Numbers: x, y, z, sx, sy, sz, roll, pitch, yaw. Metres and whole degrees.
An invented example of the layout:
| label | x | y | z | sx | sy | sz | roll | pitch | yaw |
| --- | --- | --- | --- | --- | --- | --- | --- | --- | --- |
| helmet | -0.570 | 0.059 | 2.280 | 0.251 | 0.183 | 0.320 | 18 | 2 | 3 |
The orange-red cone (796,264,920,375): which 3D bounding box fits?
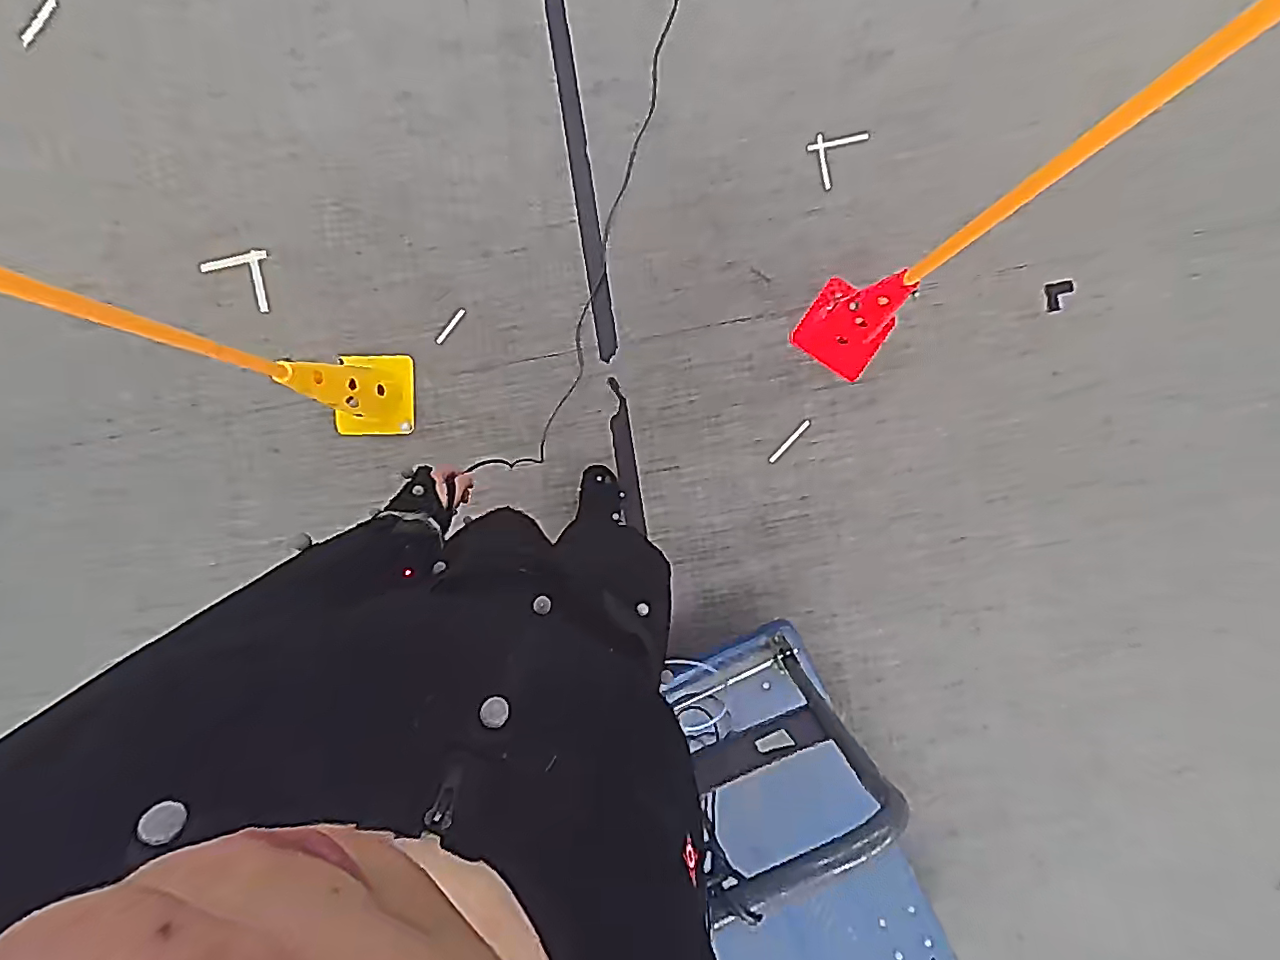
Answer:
| label | x | y | z | sx | sy | sz | roll | pitch | yaw |
| --- | --- | --- | --- | --- | --- | --- | --- | --- | --- |
| orange-red cone | 0.503 | -0.379 | 1.162 | 0.198 | 0.360 | 0.199 | 36 | 93 | 1 |
